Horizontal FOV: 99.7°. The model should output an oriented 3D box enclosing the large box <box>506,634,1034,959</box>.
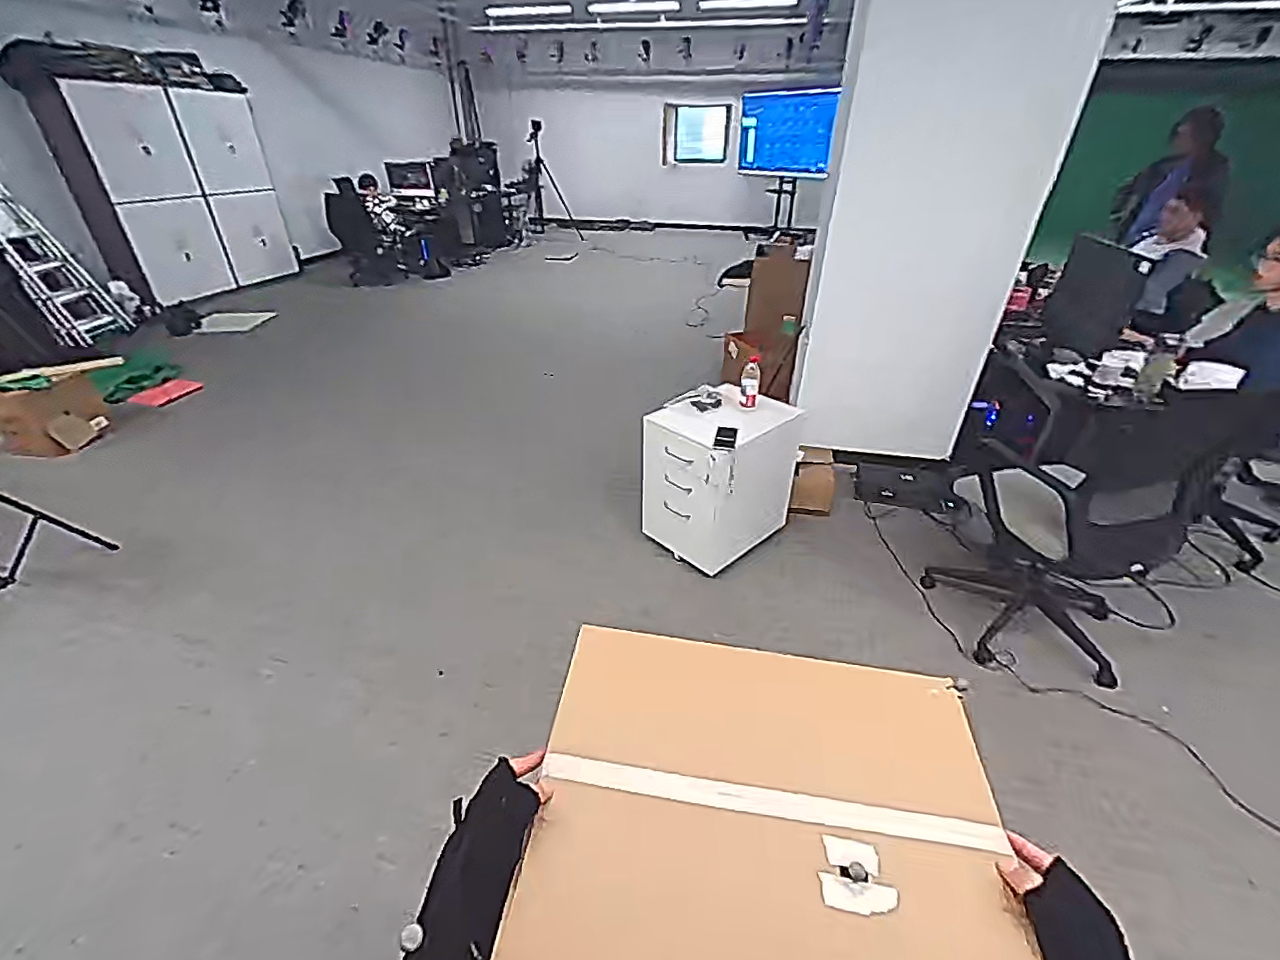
[{"bbox_3d":[0.104,0.406,0.578,0.408,0.320,0.320,8,40,4],"label":"large box"}]
